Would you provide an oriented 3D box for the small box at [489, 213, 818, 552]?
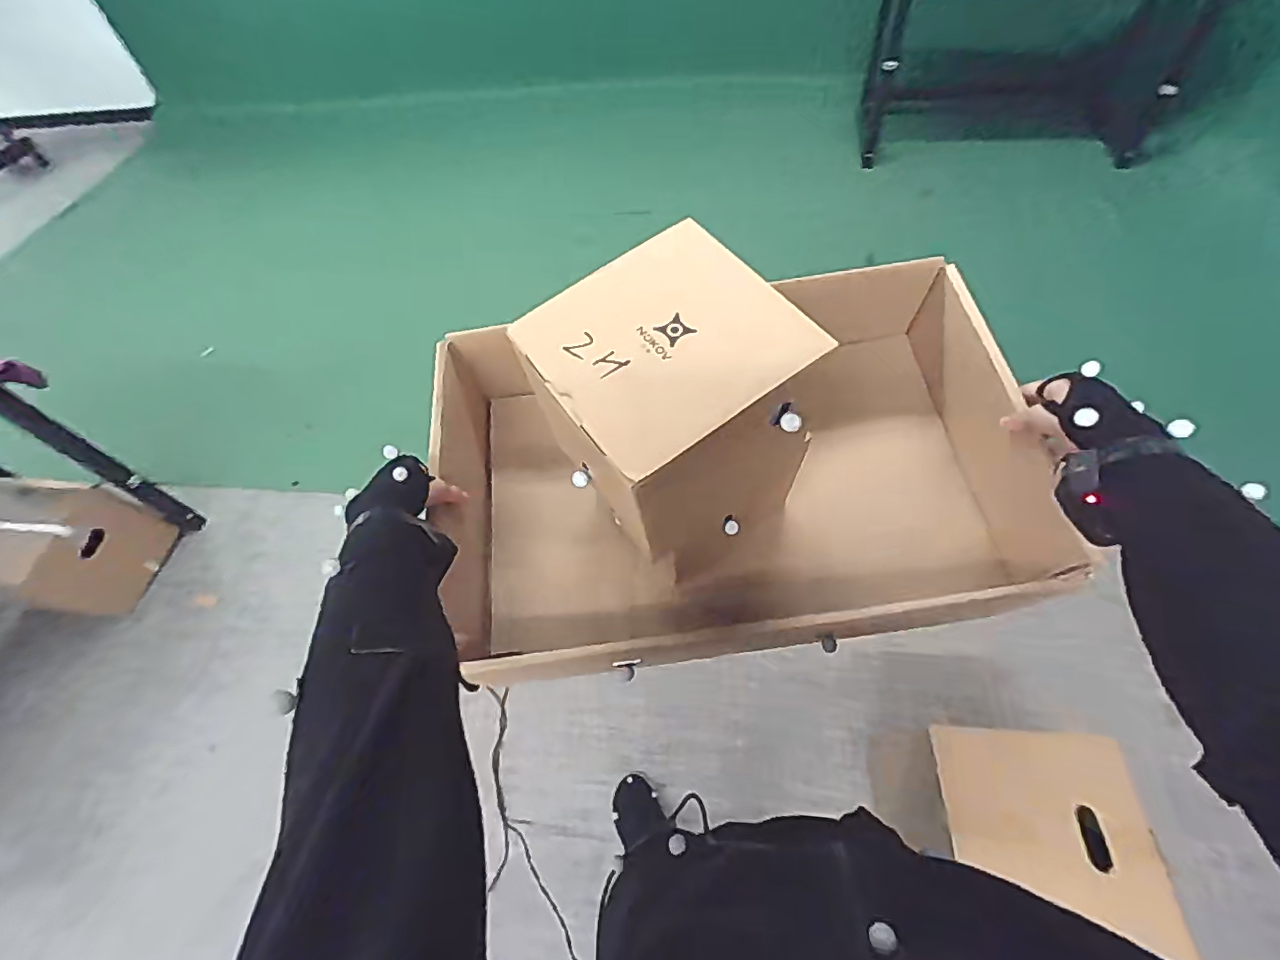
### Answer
[{"bbox_3d":[0.012,-0.070,0.447,0.179,0.176,0.168,-36,66,-10],"label":"small box"}]
